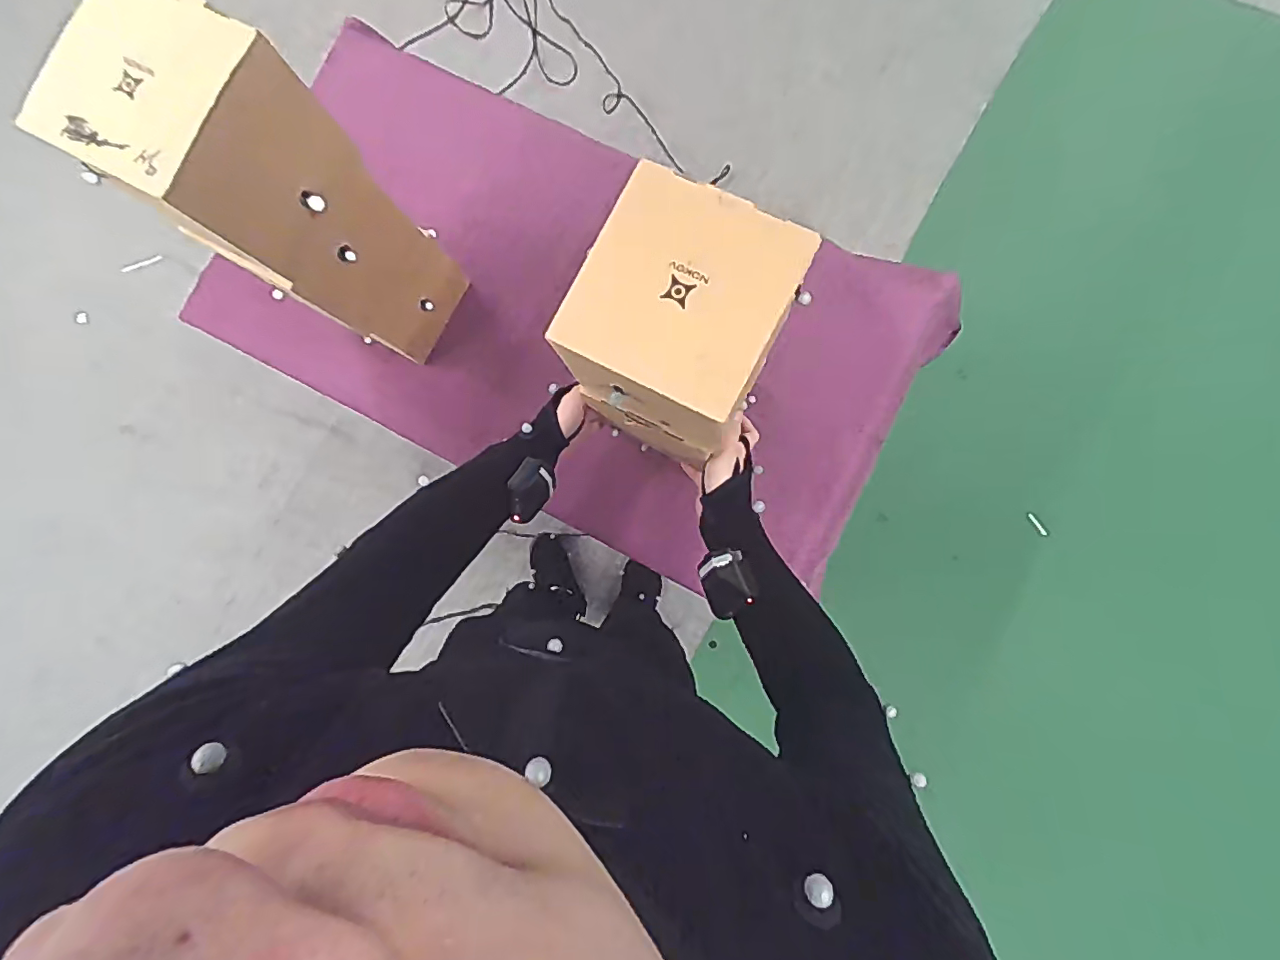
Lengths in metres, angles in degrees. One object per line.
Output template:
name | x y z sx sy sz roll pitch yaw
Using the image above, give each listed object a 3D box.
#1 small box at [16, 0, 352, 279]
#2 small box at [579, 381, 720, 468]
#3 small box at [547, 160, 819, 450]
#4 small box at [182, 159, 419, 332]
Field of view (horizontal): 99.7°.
small box | -0.436 -0.346 0.554 0.168 0.176 0.179 28 87 6
small box | 0.049 -0.130 0.672 0.168 0.176 0.179 26 86 7
small box | 0.041 -0.145 0.511 0.168 0.176 0.179 27 86 7
small box | -0.429 -0.326 0.717 0.168 0.176 0.179 29 88 5
